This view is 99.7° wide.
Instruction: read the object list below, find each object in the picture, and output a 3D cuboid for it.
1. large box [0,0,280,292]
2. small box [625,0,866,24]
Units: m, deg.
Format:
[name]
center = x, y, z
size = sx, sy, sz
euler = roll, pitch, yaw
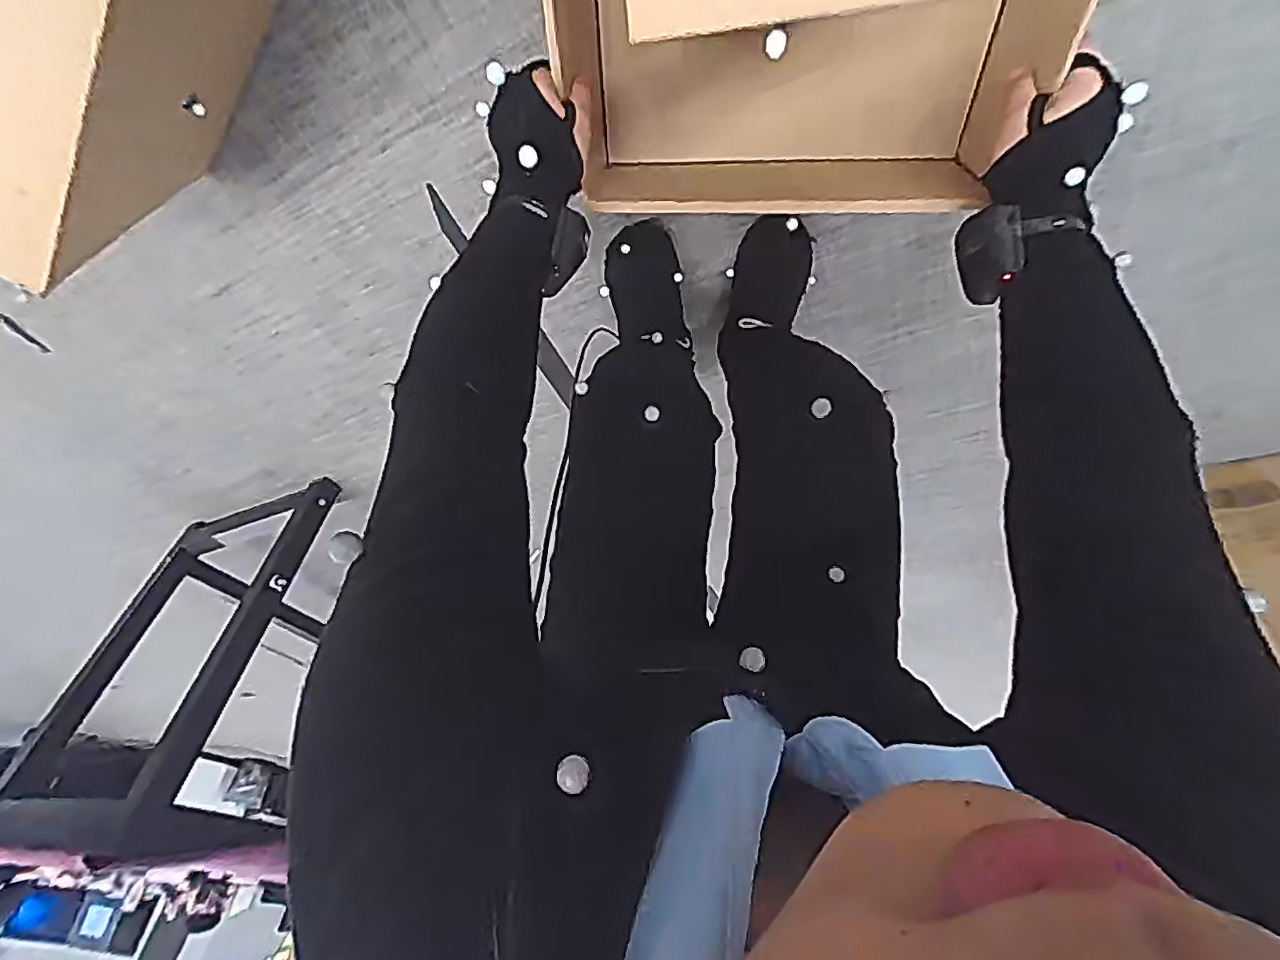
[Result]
[large box]
center = -0.568, -0.467, 0.475
size = 0.408, 0.320, 0.320
euler = -28, 129, 35
[small box]
center = 0.080, -0.333, 0.256
size = 0.179, 0.176, 0.168
euler = -1, 130, 8
